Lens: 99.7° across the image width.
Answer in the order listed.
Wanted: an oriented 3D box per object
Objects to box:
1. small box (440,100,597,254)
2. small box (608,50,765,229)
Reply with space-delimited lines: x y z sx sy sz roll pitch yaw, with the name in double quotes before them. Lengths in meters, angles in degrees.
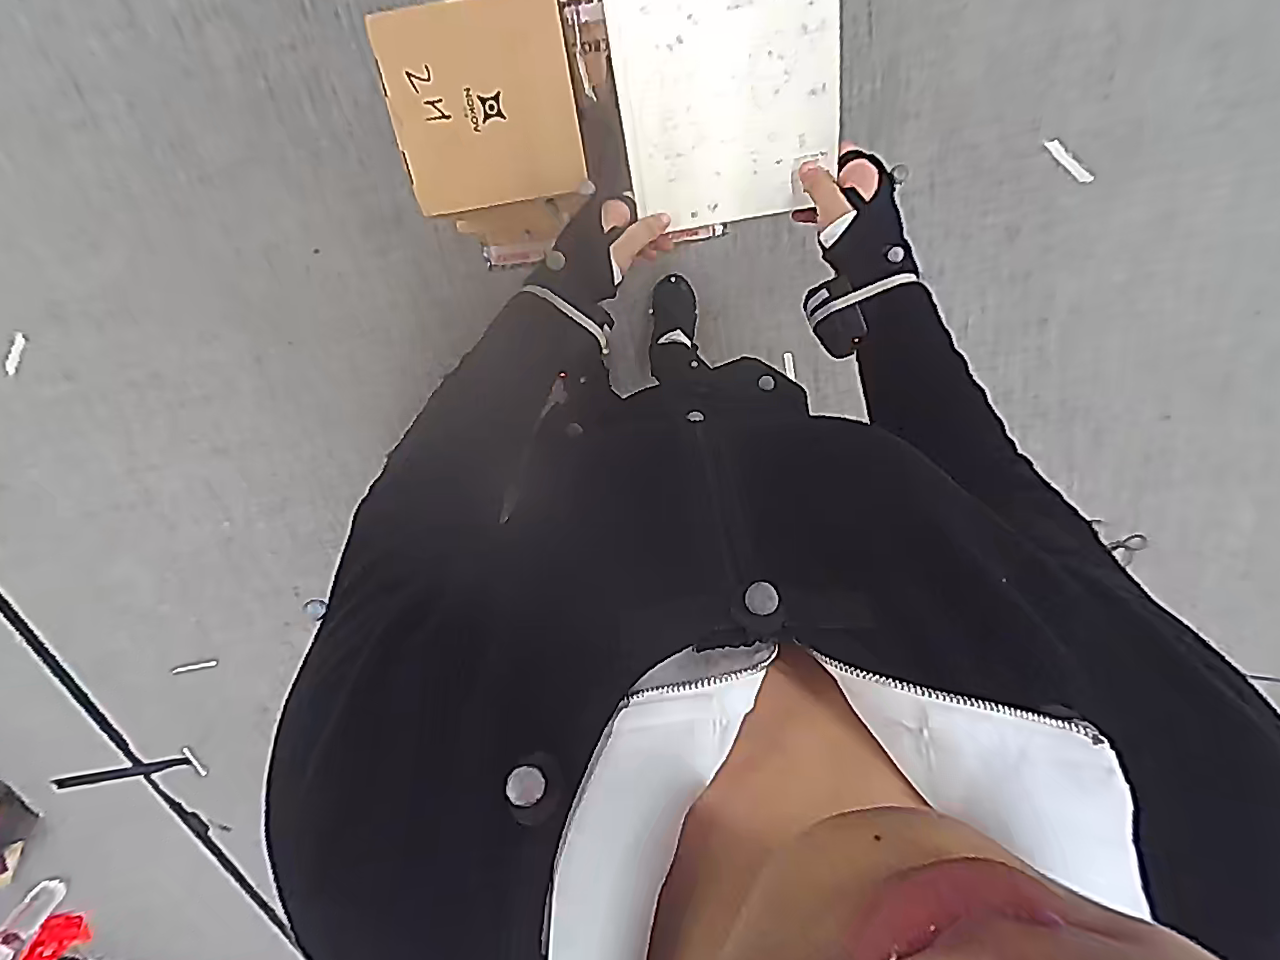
"small box" -0.154 -0.416 0.759 0.179 0.176 0.168 -4 115 1
"small box" 0.058 -0.458 0.751 0.179 0.176 0.168 -13 114 2
